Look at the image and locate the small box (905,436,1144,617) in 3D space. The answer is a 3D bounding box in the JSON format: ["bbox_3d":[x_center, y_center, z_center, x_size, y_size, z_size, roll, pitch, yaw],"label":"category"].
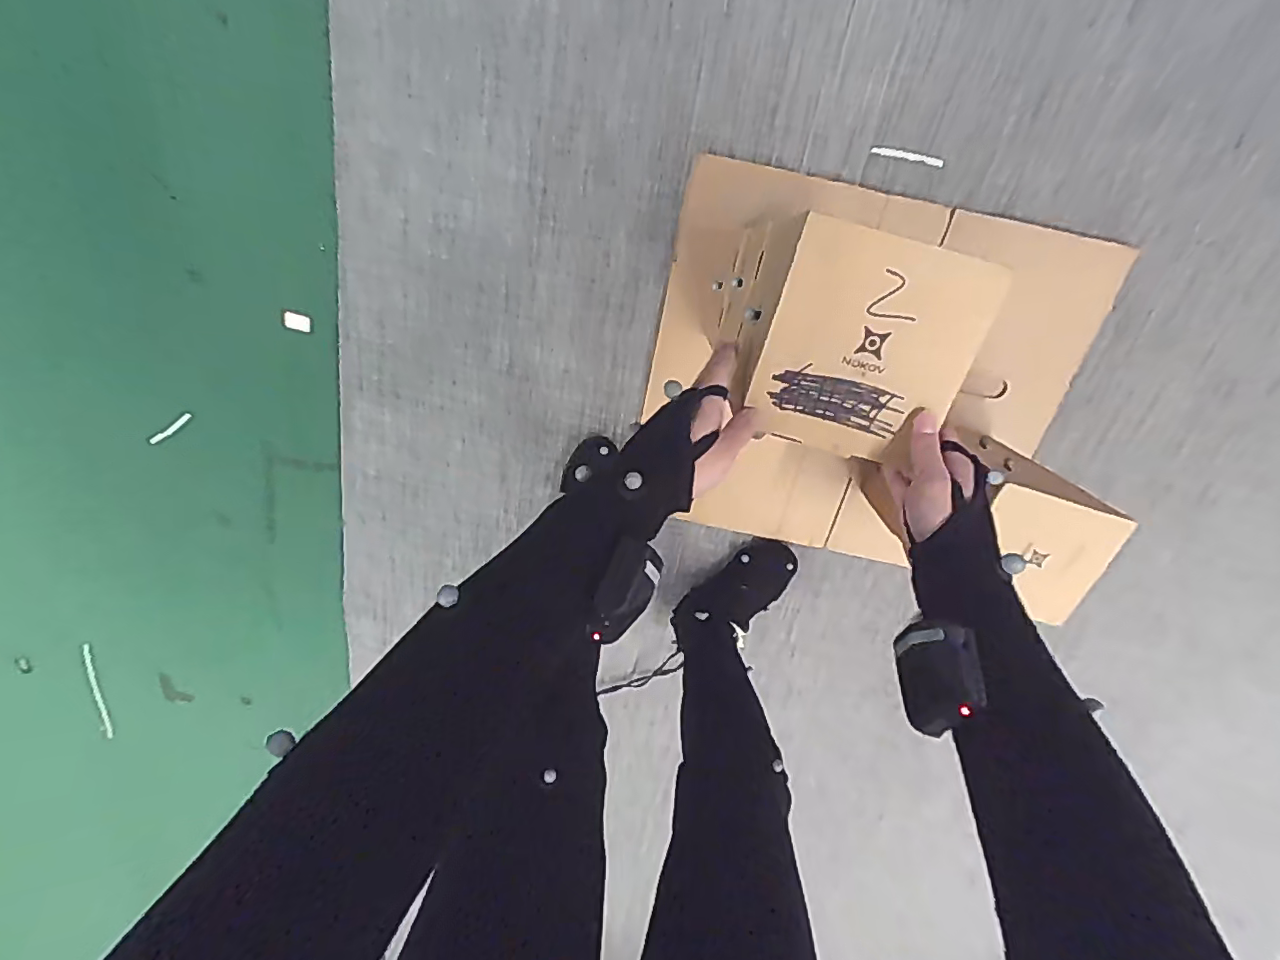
[{"bbox_3d":[0.502,0.053,0.744,0.179,0.176,0.168,17,114,-2],"label":"small box"}]

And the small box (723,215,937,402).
[{"bbox_3d":[0.208,-0.211,0.651,0.179,0.176,0.168,13,114,-1],"label":"small box"}]

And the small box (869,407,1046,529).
[{"bbox_3d":[0.515,-0.009,0.895,0.179,0.176,0.168,14,113,-2],"label":"small box"}]

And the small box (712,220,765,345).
[{"bbox_3d":[0.213,-0.276,0.800,0.179,0.176,0.168,13,113,-1],"label":"small box"}]
